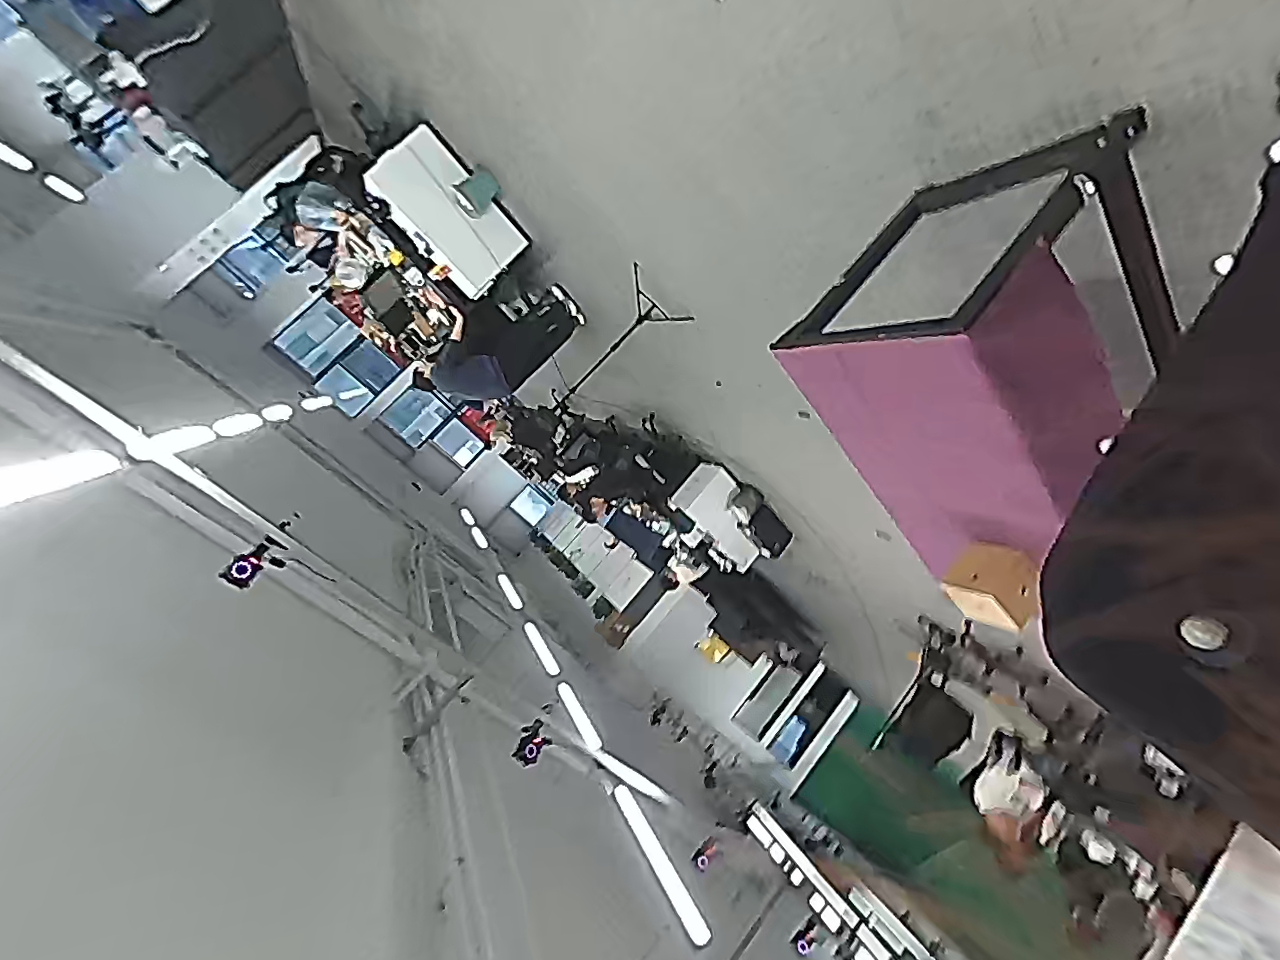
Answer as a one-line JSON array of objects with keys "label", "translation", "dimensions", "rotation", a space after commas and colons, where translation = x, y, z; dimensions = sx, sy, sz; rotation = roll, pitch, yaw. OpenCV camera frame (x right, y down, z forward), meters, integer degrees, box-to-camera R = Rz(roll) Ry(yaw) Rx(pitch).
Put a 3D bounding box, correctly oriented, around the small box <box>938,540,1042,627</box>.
[{"label": "small box", "translation": [1.038, 0.296, 1.595], "dimensions": [0.168, 0.176, 0.179], "rotation": [45, 170, -16]}]
